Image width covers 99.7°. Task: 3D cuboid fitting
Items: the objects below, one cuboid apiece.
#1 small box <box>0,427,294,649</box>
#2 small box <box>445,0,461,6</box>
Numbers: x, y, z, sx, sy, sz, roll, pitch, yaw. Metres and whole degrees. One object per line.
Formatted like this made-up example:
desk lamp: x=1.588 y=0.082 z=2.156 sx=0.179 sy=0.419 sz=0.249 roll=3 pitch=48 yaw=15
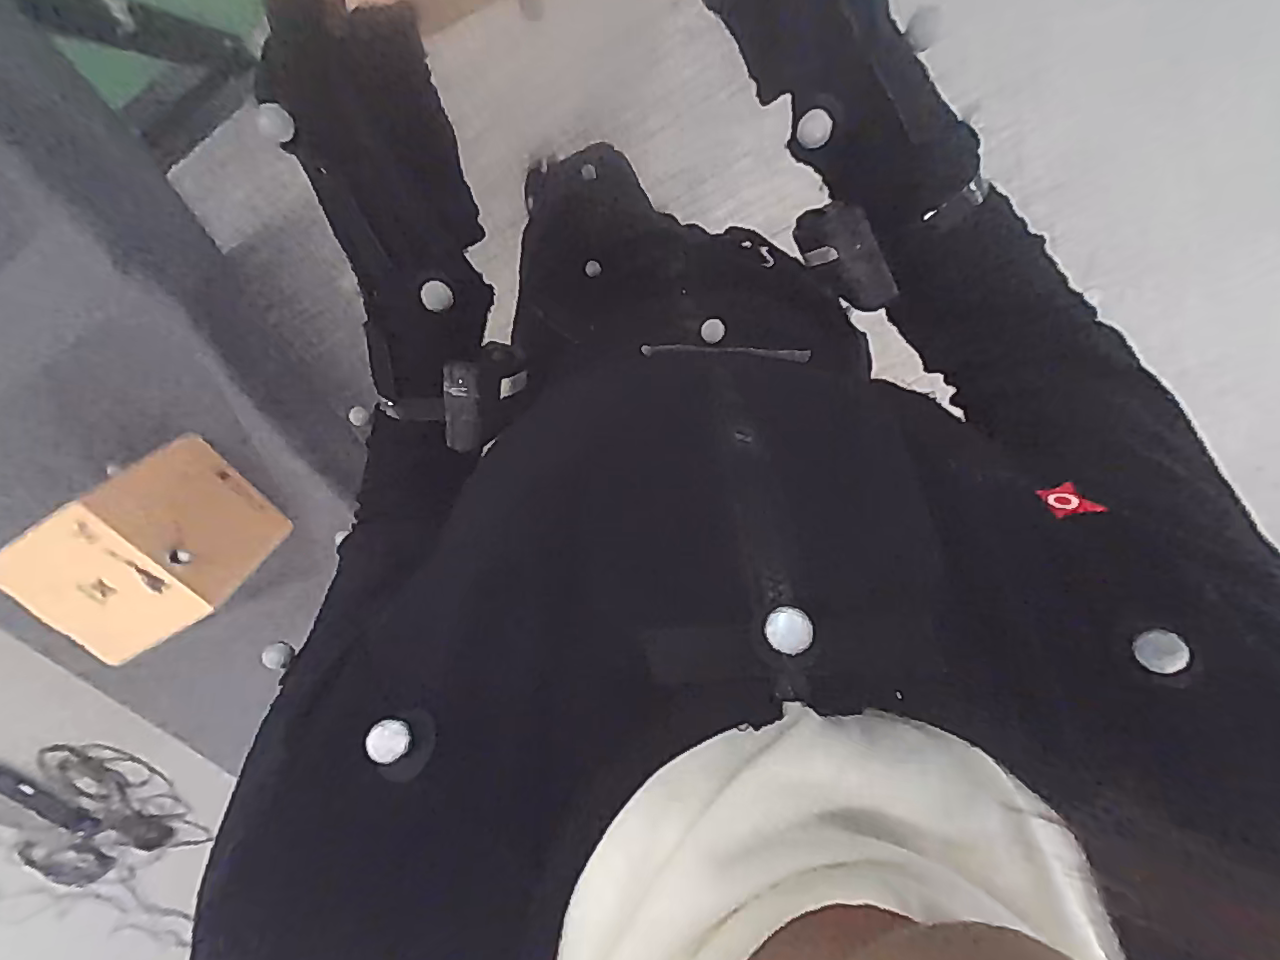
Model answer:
small box: x=-0.578 y=0.066 z=0.660 sx=0.179 sy=0.176 sz=0.168 roll=-26 pitch=117 yaw=15
small box: x=-0.082 y=-0.345 z=0.225 sx=0.168 sy=0.176 sz=0.179 roll=-22 pitch=127 yaw=8
